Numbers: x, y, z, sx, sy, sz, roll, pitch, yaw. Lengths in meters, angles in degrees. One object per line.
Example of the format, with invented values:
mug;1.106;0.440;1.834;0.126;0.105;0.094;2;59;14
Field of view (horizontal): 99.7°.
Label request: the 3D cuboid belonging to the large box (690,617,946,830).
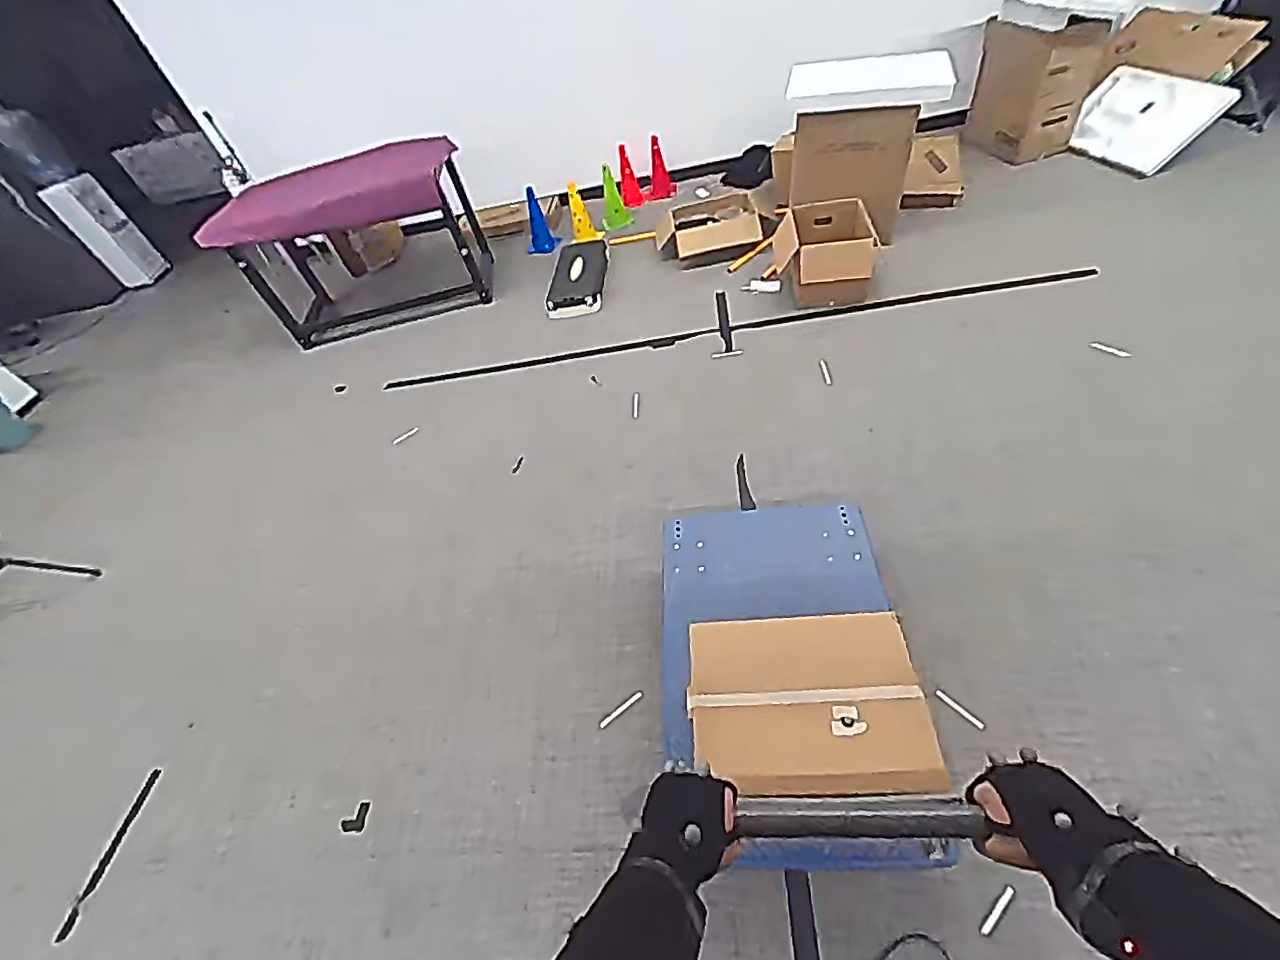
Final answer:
large box;0.322;0.502;1.098;0.408;0.320;0.320;-6;49;8
